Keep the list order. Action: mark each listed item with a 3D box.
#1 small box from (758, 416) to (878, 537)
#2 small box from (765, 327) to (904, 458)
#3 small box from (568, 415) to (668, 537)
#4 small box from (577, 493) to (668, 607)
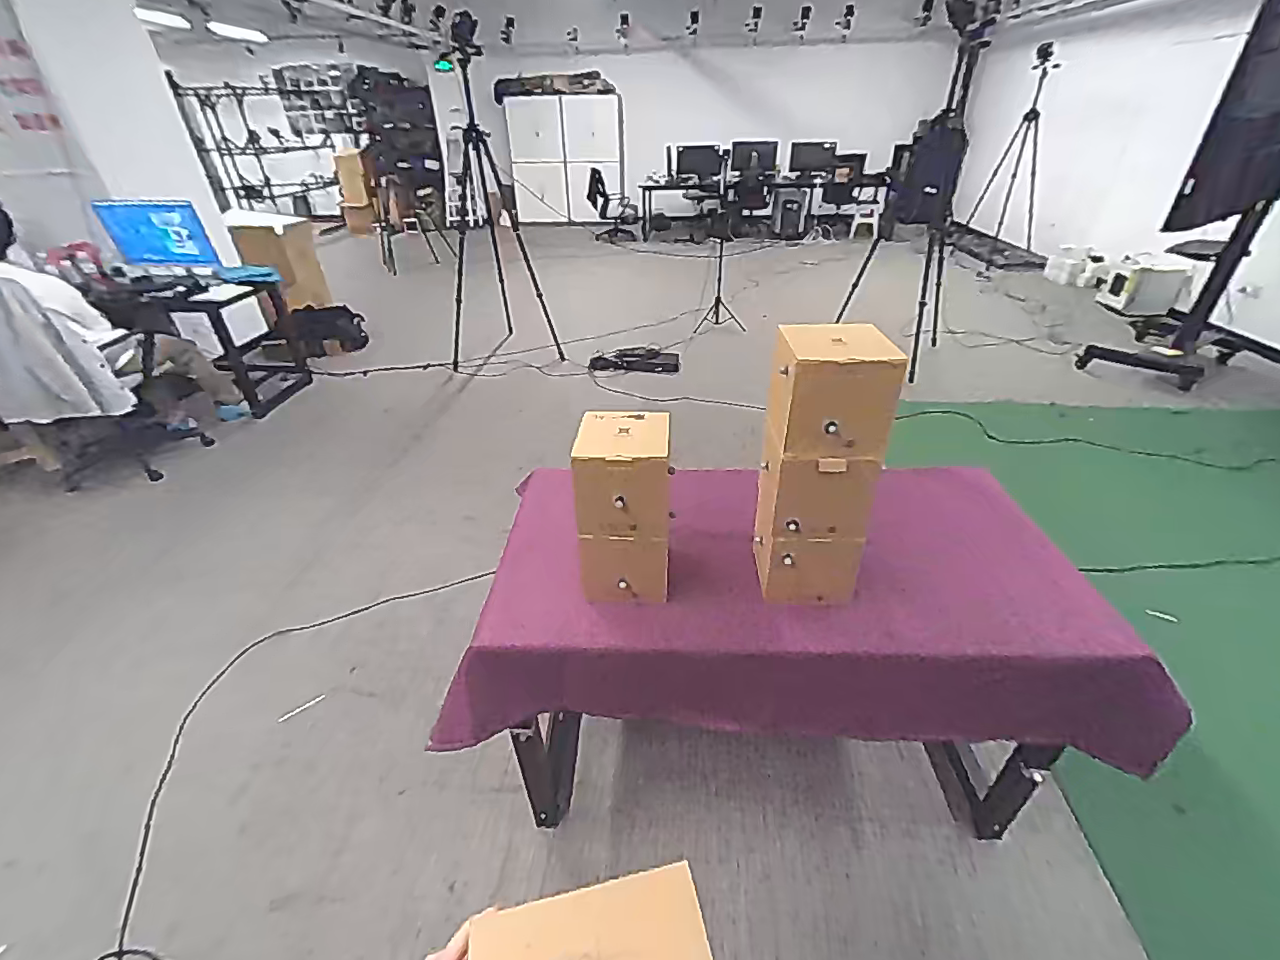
[{"bbox_3d":[0.315,-0.008,0.995,0.168,0.176,0.179,0,32,2],"label":"small box"},{"bbox_3d":[0.314,-0.150,0.915,0.168,0.176,0.179,0,33,2],"label":"small box"},{"bbox_3d":[-0.032,-0.008,1.009,0.168,0.176,0.179,1,33,3],"label":"small box"},{"bbox_3d":[-0.028,0.133,1.096,0.168,0.176,0.179,0,33,4],"label":"small box"}]
